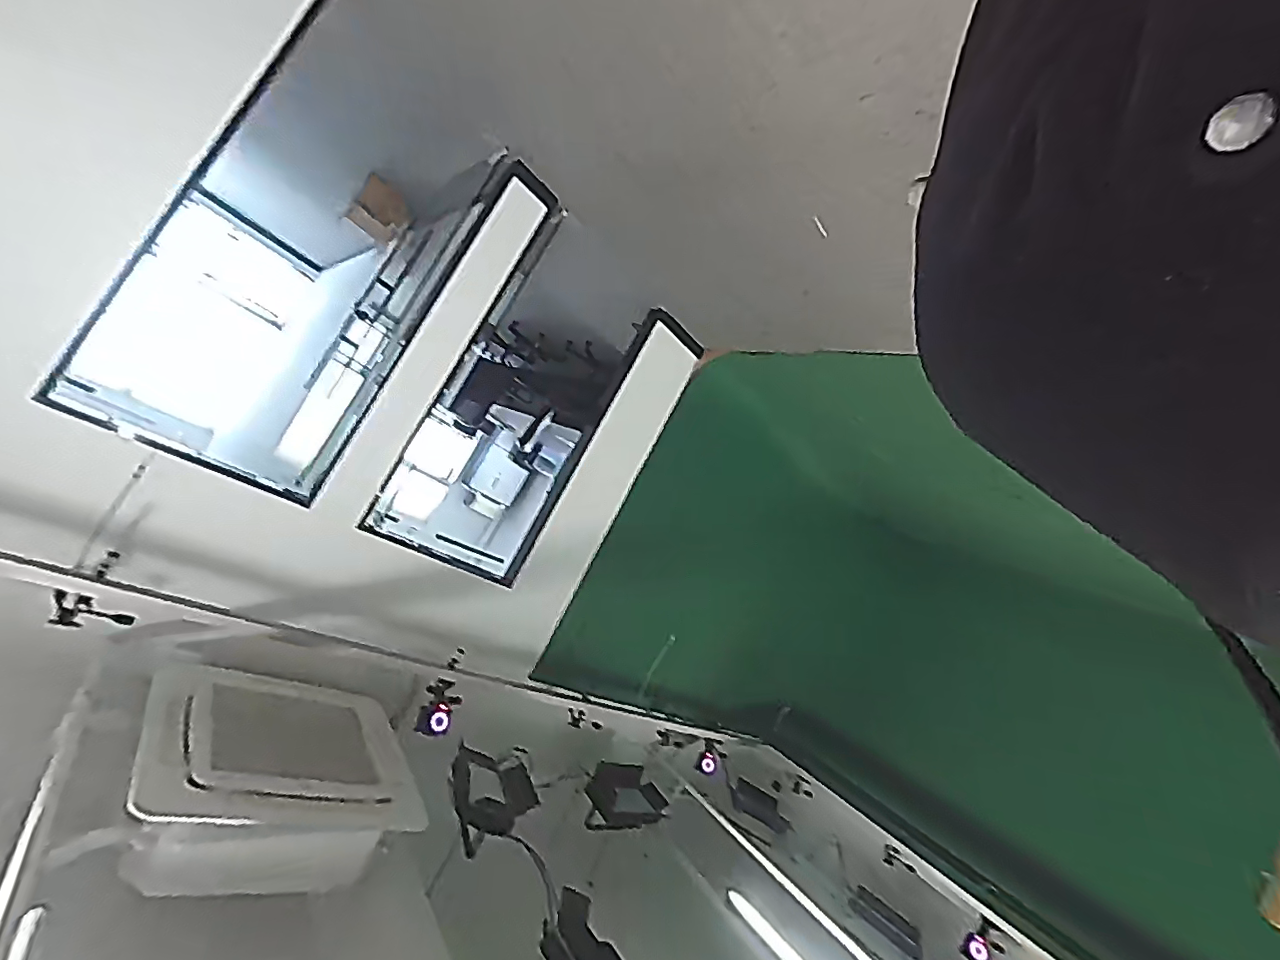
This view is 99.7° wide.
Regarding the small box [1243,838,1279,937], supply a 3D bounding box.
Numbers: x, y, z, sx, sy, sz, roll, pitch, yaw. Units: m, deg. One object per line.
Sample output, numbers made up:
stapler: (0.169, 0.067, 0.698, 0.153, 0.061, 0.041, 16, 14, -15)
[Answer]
small box: (1.253, 0.784, 0.983, 0.168, 0.176, 0.179, 20, 167, 48)
